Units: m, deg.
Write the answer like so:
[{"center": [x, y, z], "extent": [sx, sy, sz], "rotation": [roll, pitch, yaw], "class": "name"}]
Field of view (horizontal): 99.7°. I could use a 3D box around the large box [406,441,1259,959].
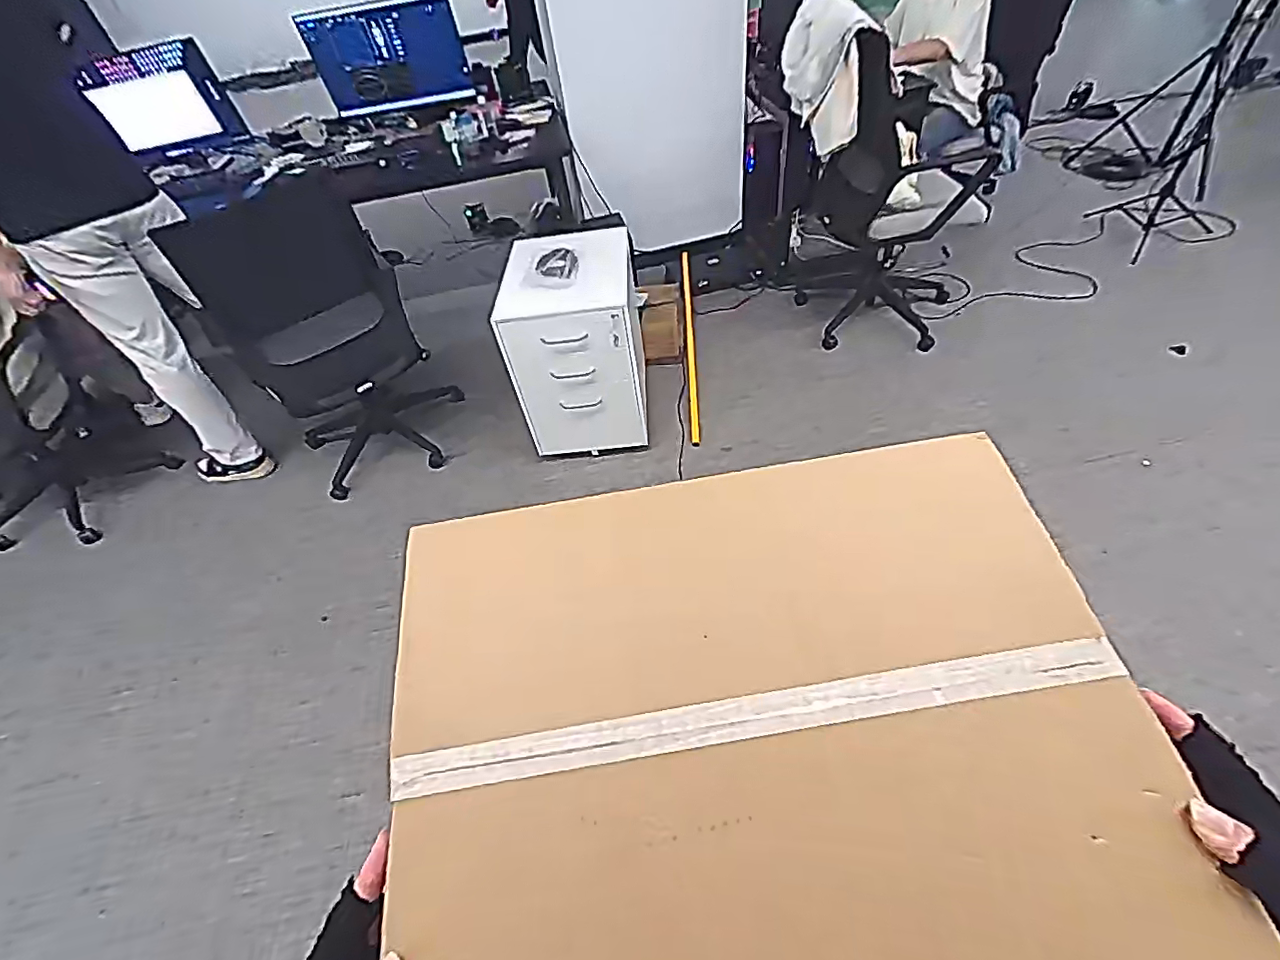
[{"center": [0.076, 0.211, 0.442], "extent": [0.408, 0.320, 0.320], "rotation": [-10, 61, 0], "class": "large box"}]
